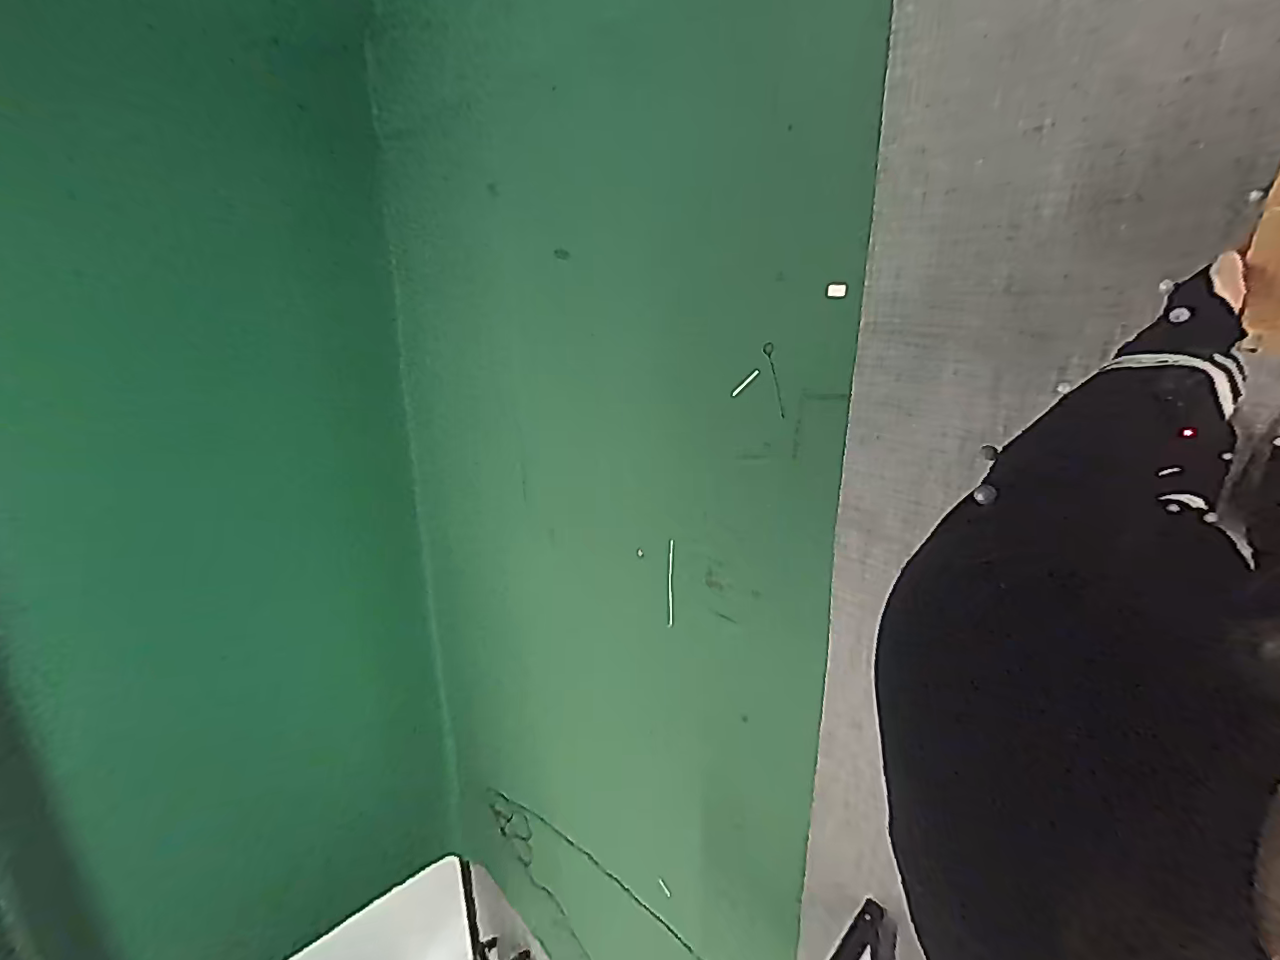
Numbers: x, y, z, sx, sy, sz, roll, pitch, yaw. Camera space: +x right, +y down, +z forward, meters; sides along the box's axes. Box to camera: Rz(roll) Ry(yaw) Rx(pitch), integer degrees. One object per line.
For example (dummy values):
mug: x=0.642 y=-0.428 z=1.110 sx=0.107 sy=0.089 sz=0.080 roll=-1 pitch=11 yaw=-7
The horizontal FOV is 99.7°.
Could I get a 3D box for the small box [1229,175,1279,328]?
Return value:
small box: x=0.625 y=-0.234 z=0.429 sx=0.168 sy=0.176 sz=0.179 roll=25 pitch=85 yaw=42
